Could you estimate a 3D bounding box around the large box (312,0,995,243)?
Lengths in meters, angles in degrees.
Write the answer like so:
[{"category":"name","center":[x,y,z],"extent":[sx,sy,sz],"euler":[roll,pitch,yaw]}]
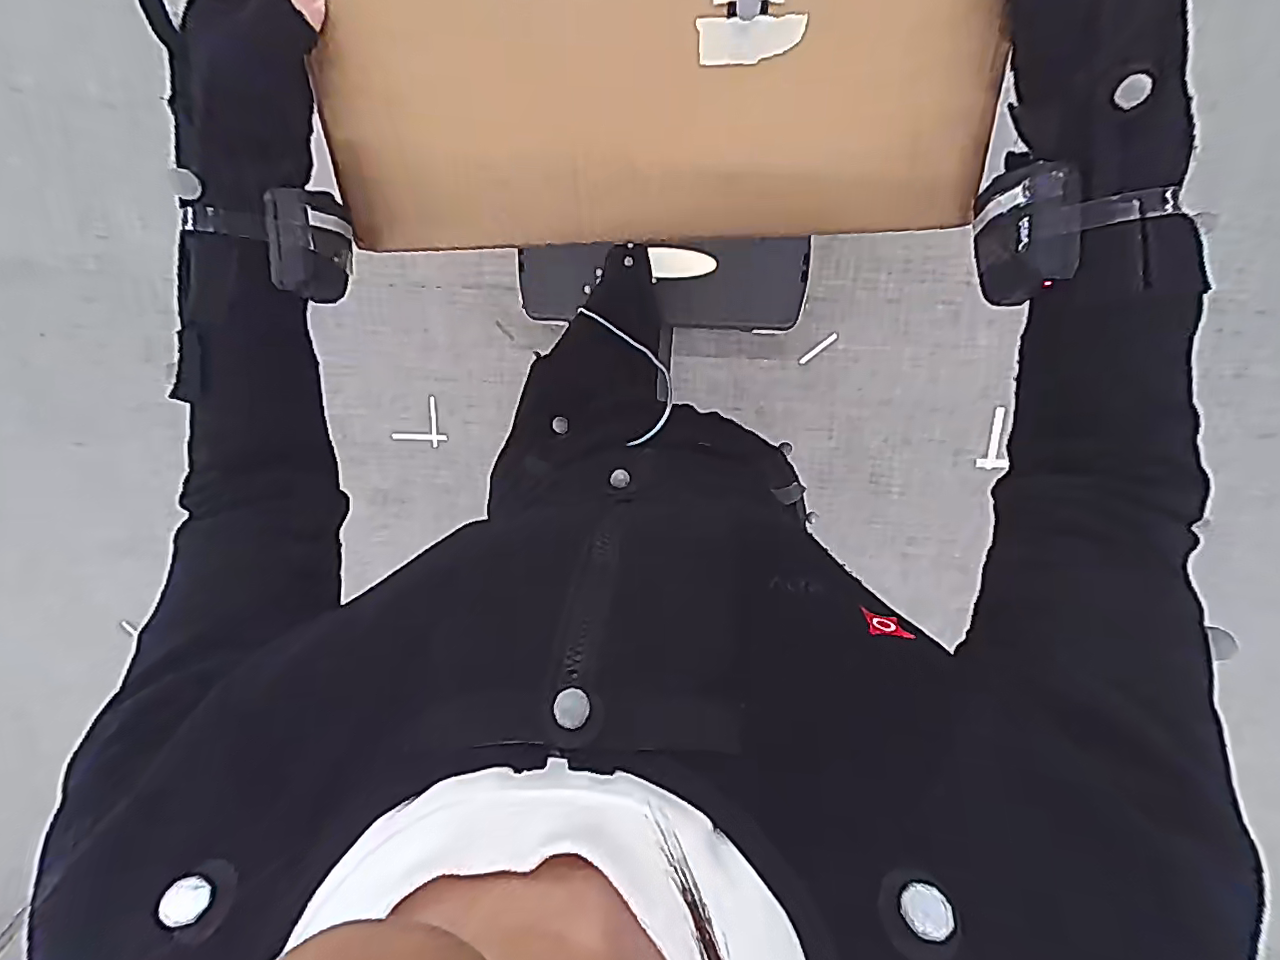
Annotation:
[{"category":"large box","center":[0.012,-0.377,0.428],"extent":[0.408,0.320,0.320],"euler":[1,118,8]}]
